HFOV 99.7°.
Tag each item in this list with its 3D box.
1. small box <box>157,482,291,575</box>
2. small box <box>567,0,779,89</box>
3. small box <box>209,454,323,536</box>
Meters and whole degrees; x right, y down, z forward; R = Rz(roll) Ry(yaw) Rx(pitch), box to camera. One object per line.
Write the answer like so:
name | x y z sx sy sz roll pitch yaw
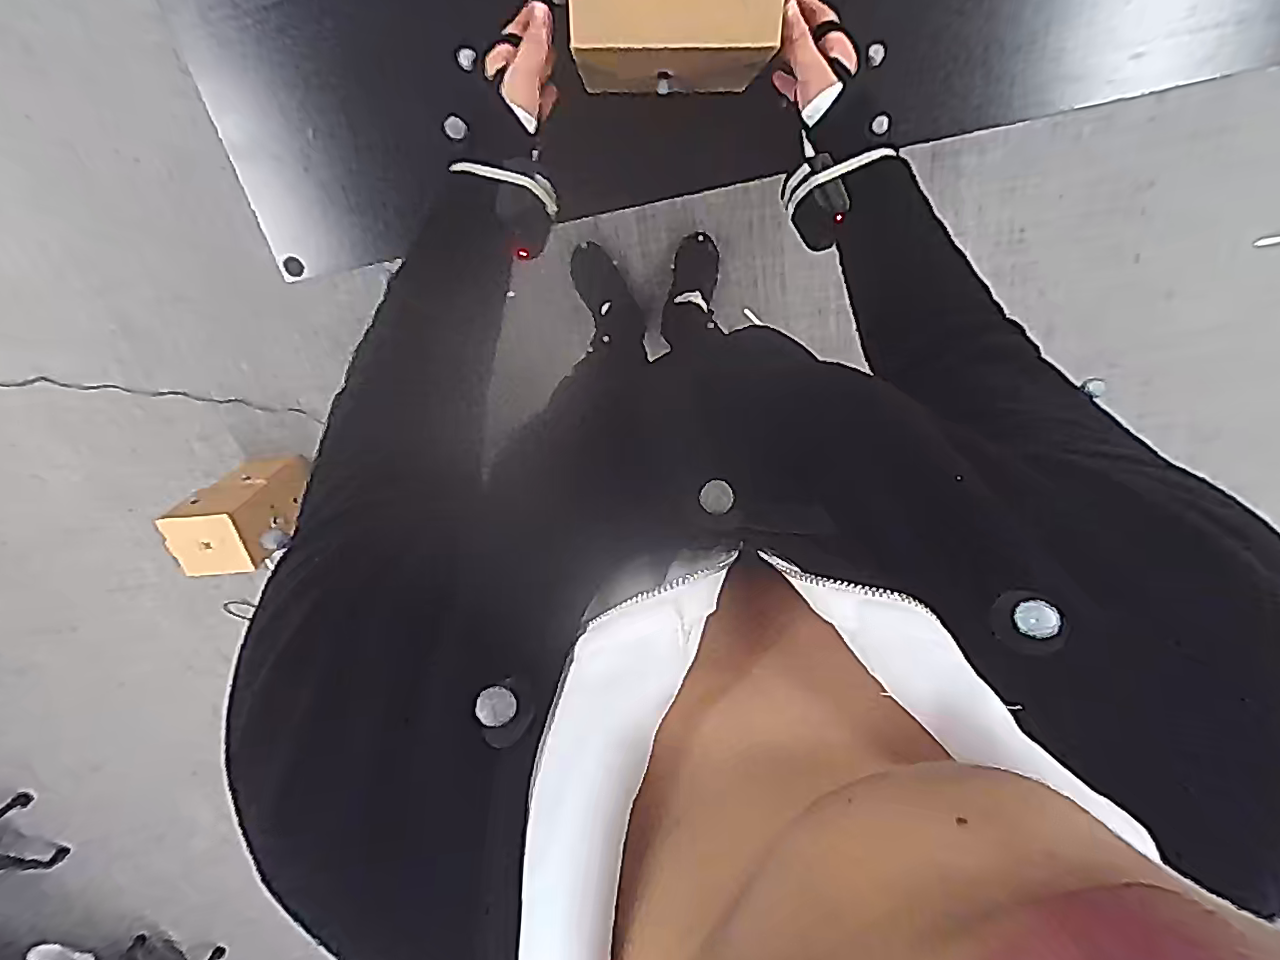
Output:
small box | -1.026 0.117 1.352 0.179 0.176 0.168 -6 117 1
small box | 0.026 -0.452 0.460 0.168 0.176 0.179 -1 115 -1
small box | -1.025 0.047 1.500 0.168 0.176 0.179 -9 117 4
